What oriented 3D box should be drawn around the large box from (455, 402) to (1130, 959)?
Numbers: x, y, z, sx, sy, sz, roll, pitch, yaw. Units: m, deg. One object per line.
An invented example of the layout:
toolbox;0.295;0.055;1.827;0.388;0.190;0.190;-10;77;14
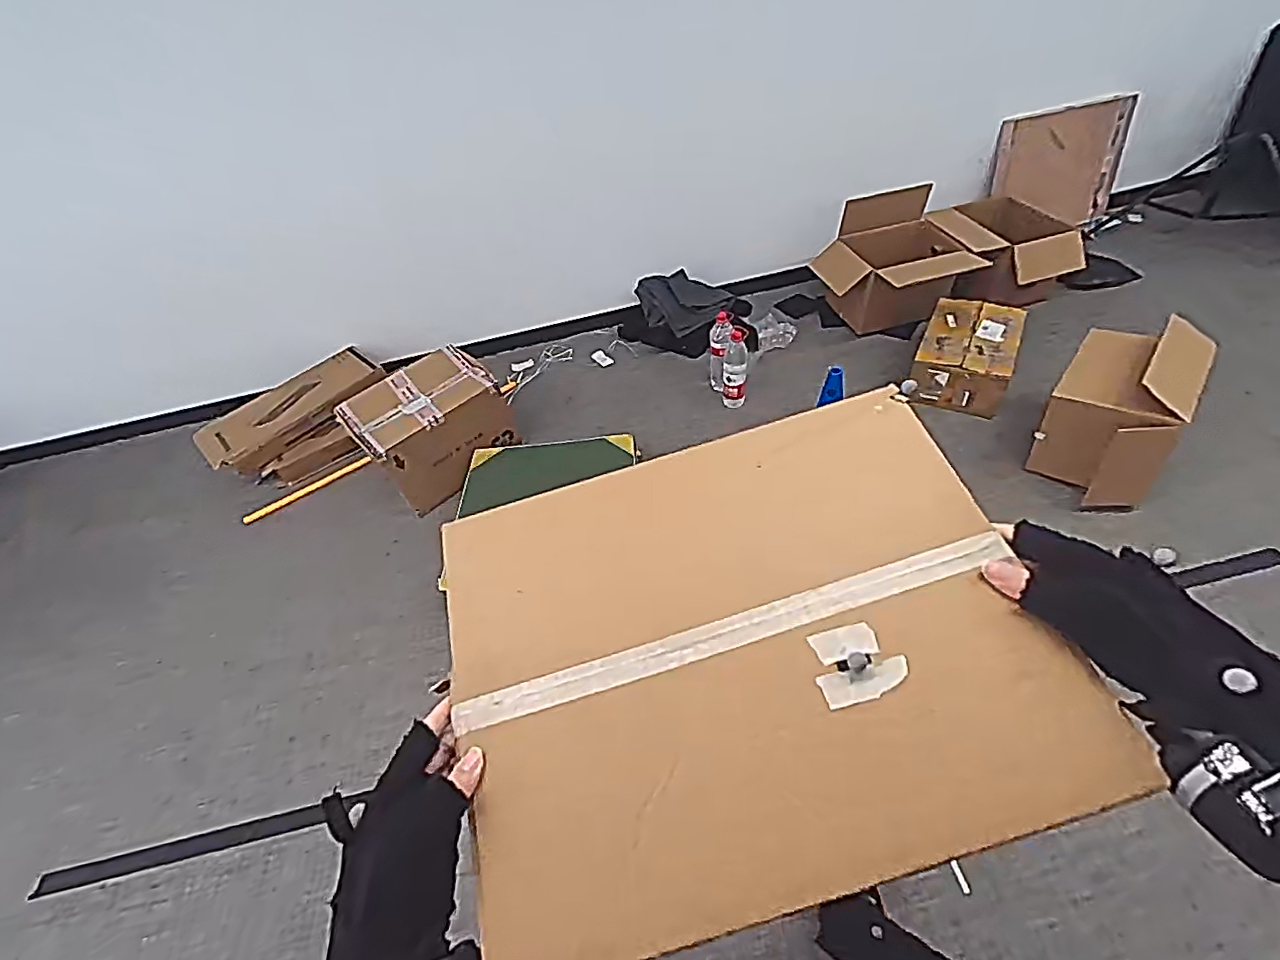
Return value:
large box;0.088;0.189;0.523;0.408;0.320;0.320;-18;60;-2
